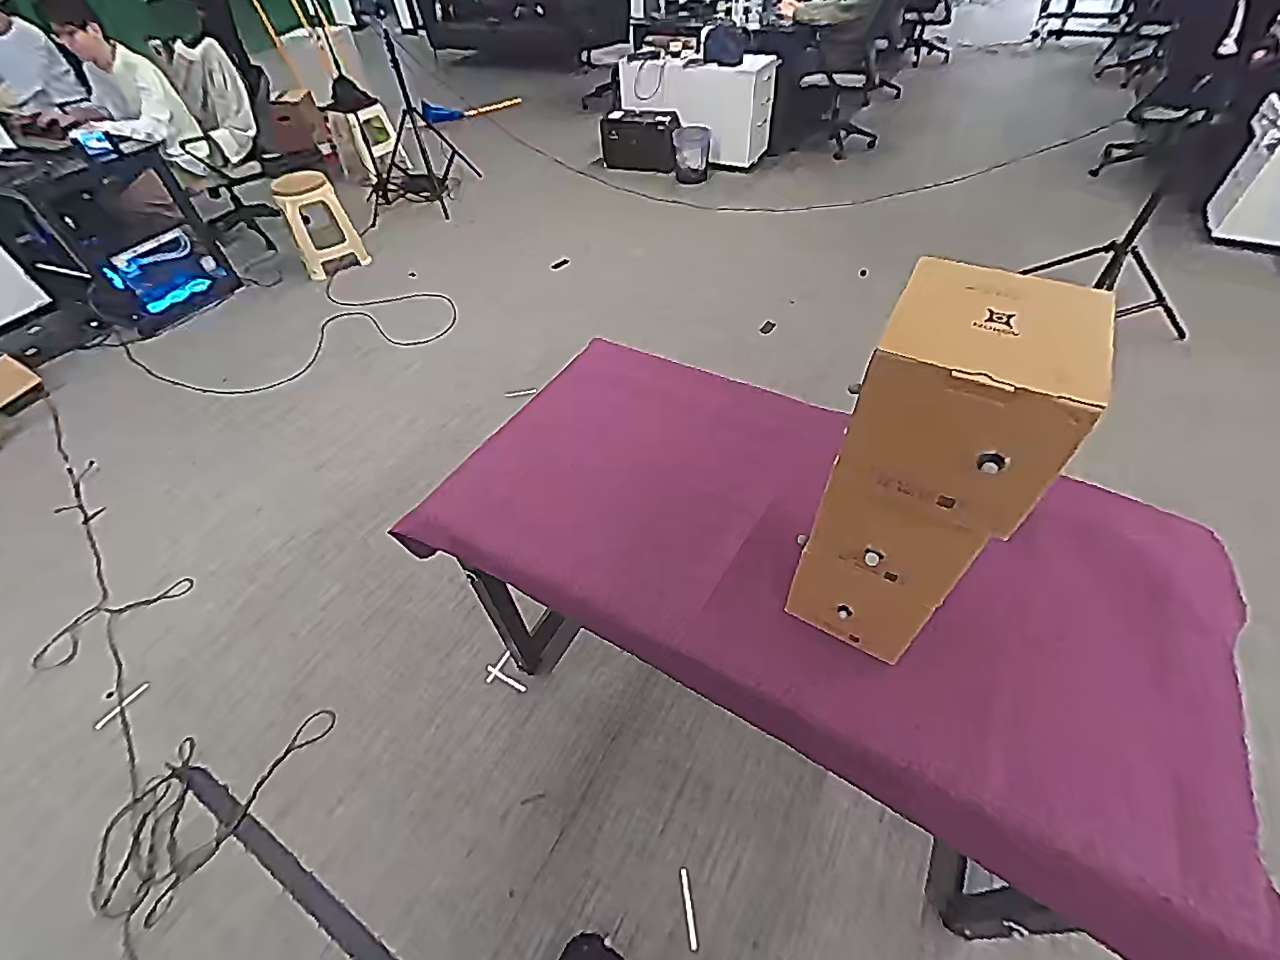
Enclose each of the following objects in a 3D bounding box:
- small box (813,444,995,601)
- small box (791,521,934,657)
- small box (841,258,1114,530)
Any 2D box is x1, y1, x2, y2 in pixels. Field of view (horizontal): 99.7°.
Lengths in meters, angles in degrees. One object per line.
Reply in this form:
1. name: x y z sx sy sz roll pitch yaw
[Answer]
1. small box: 0.327 0.010 0.655 0.168 0.176 0.179 24 55 23
2. small box: 0.330 0.120 0.777 0.168 0.176 0.179 25 54 23
3. small box: 0.309 -0.082 0.520 0.168 0.176 0.179 22 53 20
